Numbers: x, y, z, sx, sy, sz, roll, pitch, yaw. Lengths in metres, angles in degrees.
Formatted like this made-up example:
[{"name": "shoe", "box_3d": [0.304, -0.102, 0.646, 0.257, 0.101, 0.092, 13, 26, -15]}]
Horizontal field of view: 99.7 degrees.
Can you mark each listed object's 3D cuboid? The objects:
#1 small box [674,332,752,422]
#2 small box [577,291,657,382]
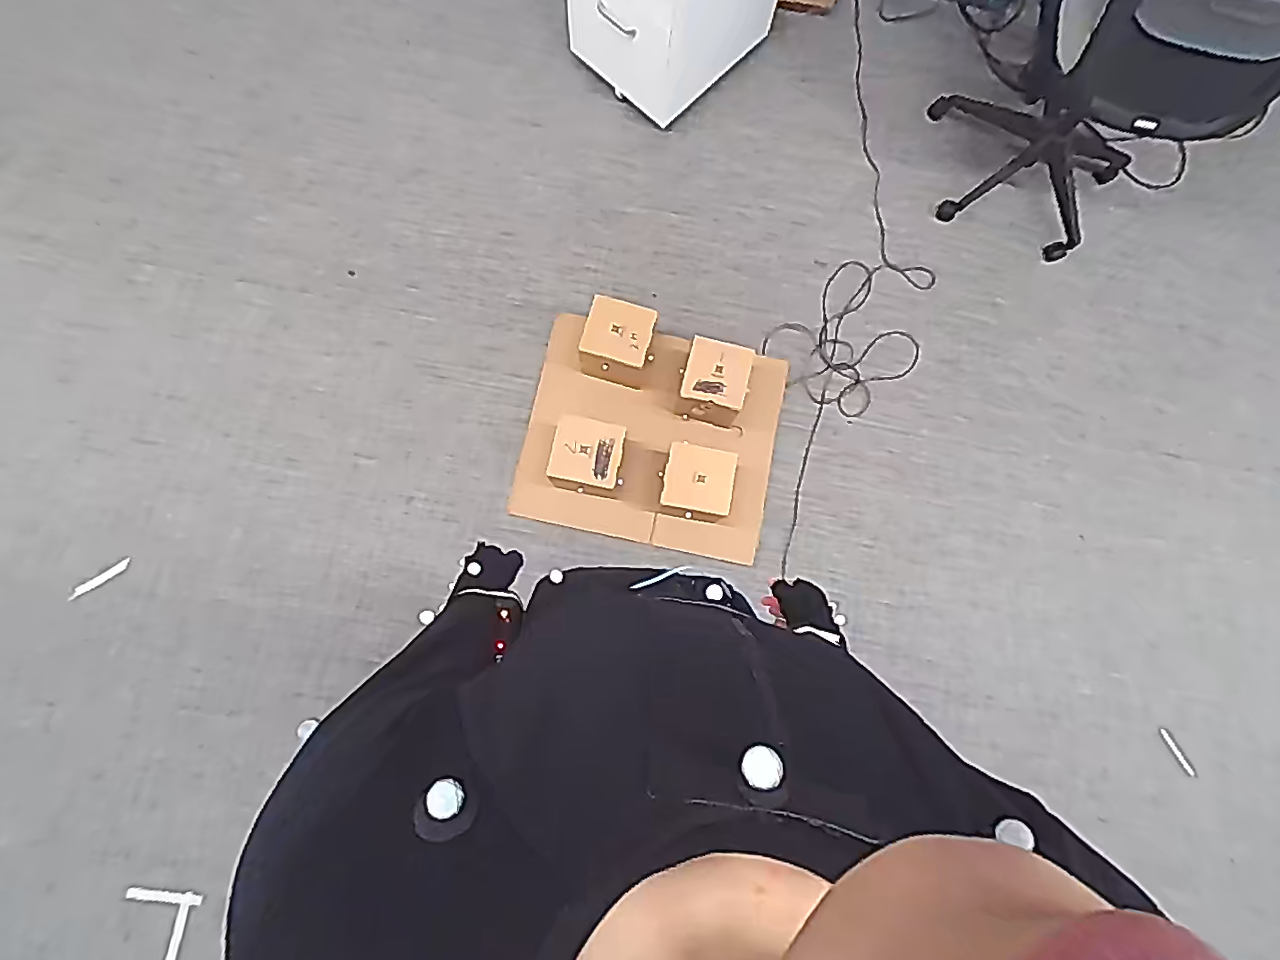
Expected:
[{"name": "small box", "box_3d": [0.194, -0.276, 1.491, 0.168, 0.176, 0.179, 15, 79, 1]}, {"name": "small box", "box_3d": [-0.063, -0.387, 1.492, 0.179, 0.176, 0.168, 17, 81, 0]}]
